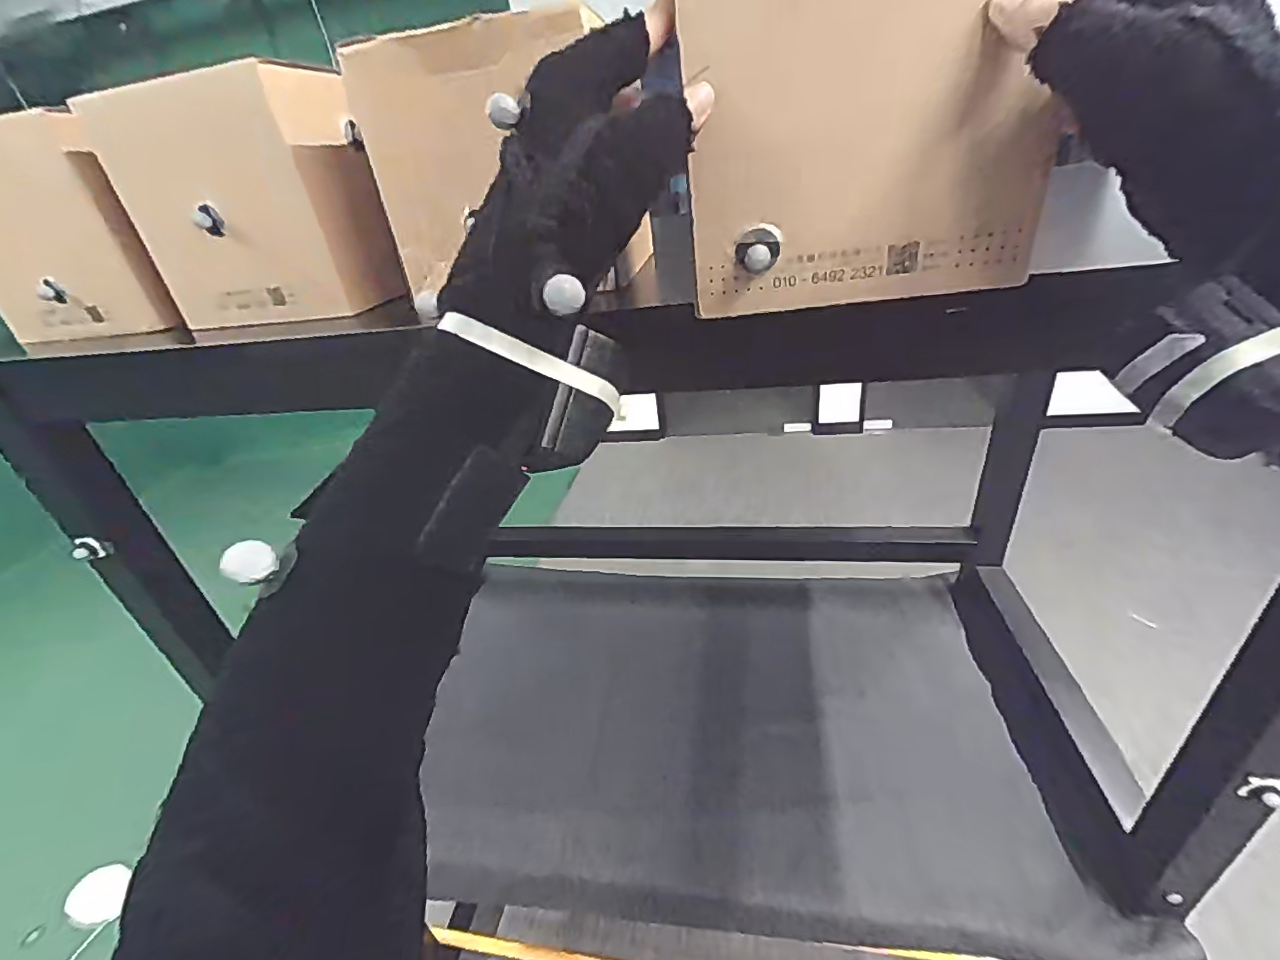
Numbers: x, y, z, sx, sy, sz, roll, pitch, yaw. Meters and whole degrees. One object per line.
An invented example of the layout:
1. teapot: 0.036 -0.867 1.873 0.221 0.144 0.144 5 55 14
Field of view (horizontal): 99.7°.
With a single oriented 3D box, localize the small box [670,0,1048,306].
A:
1. small box: 0.111 -0.208 0.325 0.168 0.176 0.179 -3 29 9
